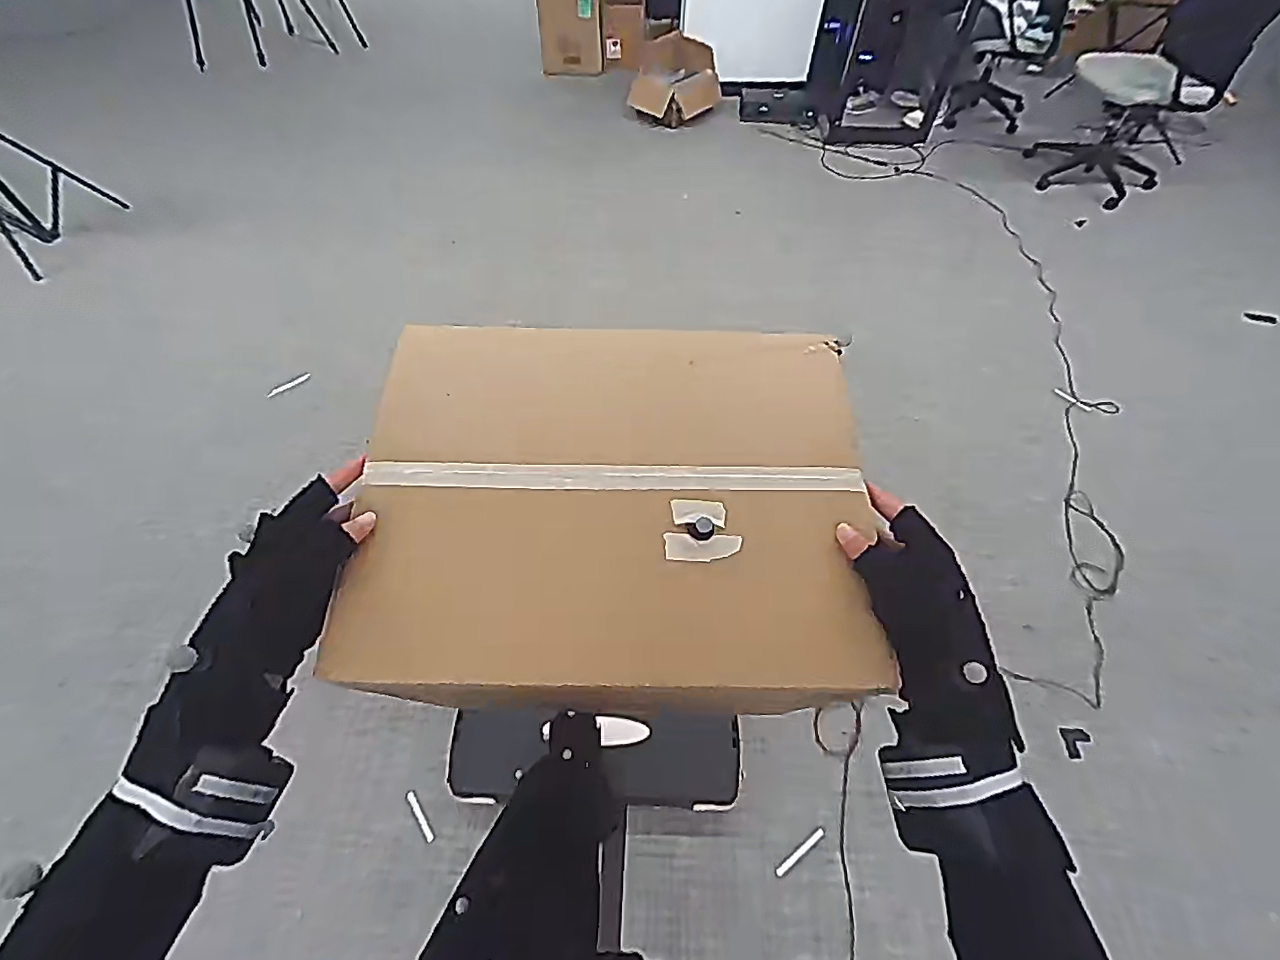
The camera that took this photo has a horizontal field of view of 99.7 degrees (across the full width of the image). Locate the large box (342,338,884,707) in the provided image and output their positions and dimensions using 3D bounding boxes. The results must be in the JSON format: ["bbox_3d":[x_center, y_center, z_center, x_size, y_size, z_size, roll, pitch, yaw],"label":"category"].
[{"bbox_3d":[-0.024,0.068,0.589,0.408,0.320,0.320,1,64,-2],"label":"large box"}]
